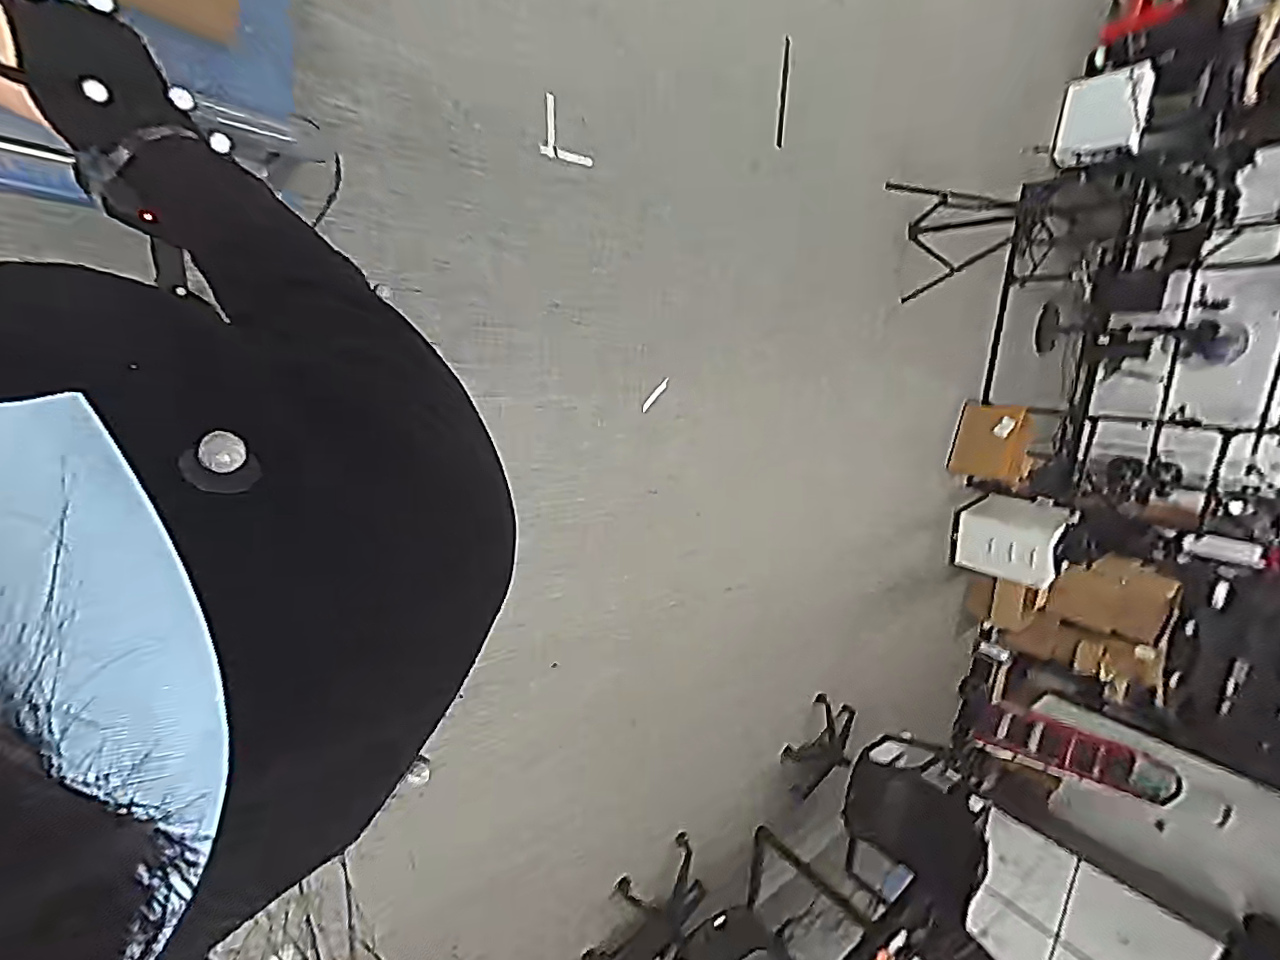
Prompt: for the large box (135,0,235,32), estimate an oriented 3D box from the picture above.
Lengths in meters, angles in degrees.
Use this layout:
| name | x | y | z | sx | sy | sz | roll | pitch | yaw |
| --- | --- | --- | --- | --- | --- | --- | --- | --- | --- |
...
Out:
| name | x | y | z | sx | sy | sz | roll | pitch | yaw |
| --- | --- | --- | --- | --- | --- | --- | --- | --- | --- |
| large box | -0.766 | -0.883 | 0.682 | 0.408 | 0.320 | 0.320 | -1 | 102 | -38 |
